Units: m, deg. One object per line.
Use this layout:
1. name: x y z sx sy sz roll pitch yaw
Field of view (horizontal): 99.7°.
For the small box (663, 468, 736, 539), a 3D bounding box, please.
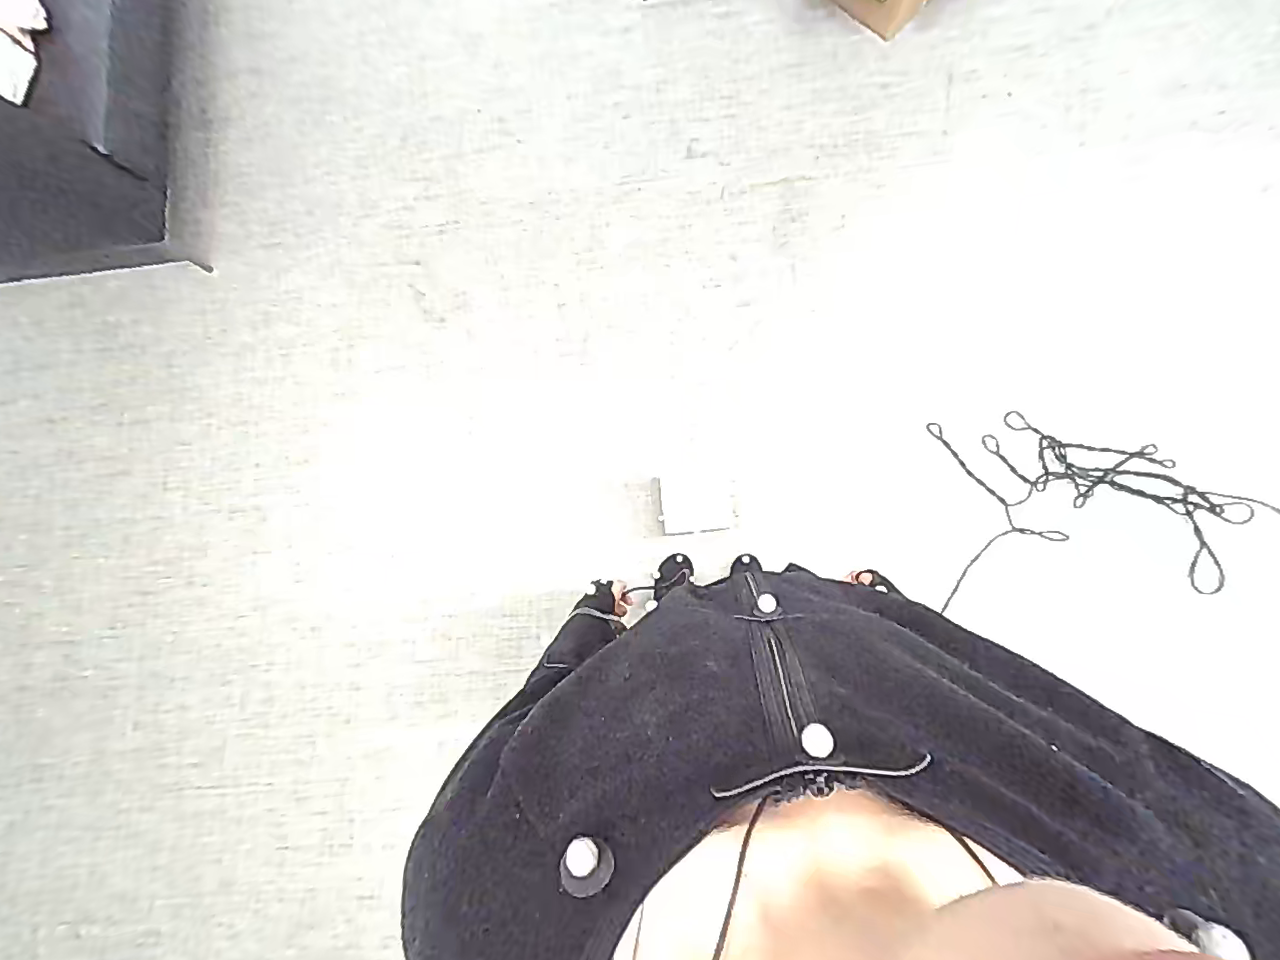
1. small box: 0.160 0.069 1.453 0.179 0.176 0.168 -6 82 4
